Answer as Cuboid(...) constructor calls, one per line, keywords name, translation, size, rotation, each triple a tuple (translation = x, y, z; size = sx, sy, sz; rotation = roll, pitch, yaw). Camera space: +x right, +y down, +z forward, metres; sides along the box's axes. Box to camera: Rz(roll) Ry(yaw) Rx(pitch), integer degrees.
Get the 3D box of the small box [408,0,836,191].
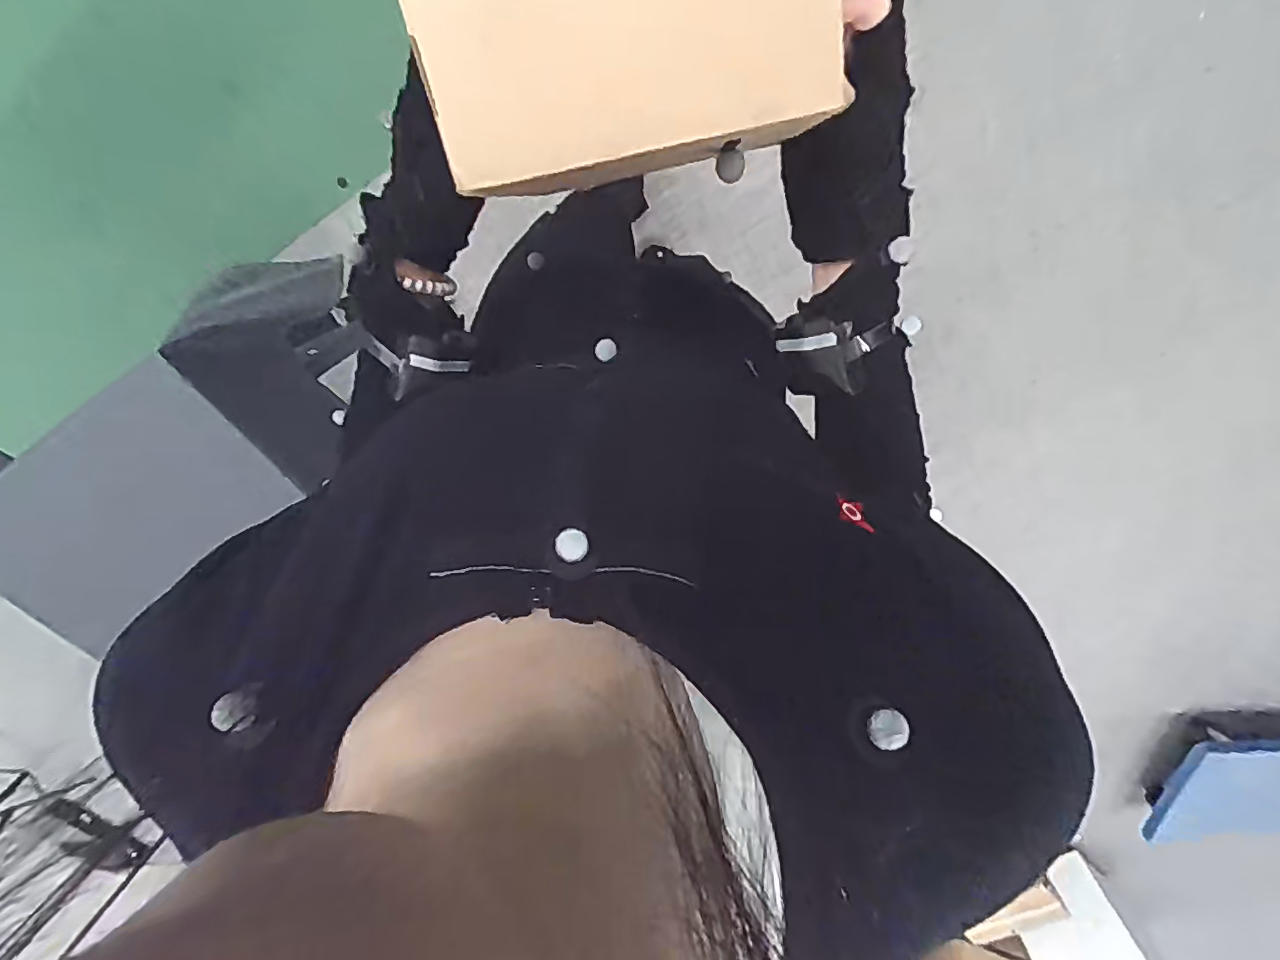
Cuboid(name="small box", translation=(-0.008, -0.259, 0.280), size=(0.179, 0.176, 0.168), rotation=(-7, 116, 10))
